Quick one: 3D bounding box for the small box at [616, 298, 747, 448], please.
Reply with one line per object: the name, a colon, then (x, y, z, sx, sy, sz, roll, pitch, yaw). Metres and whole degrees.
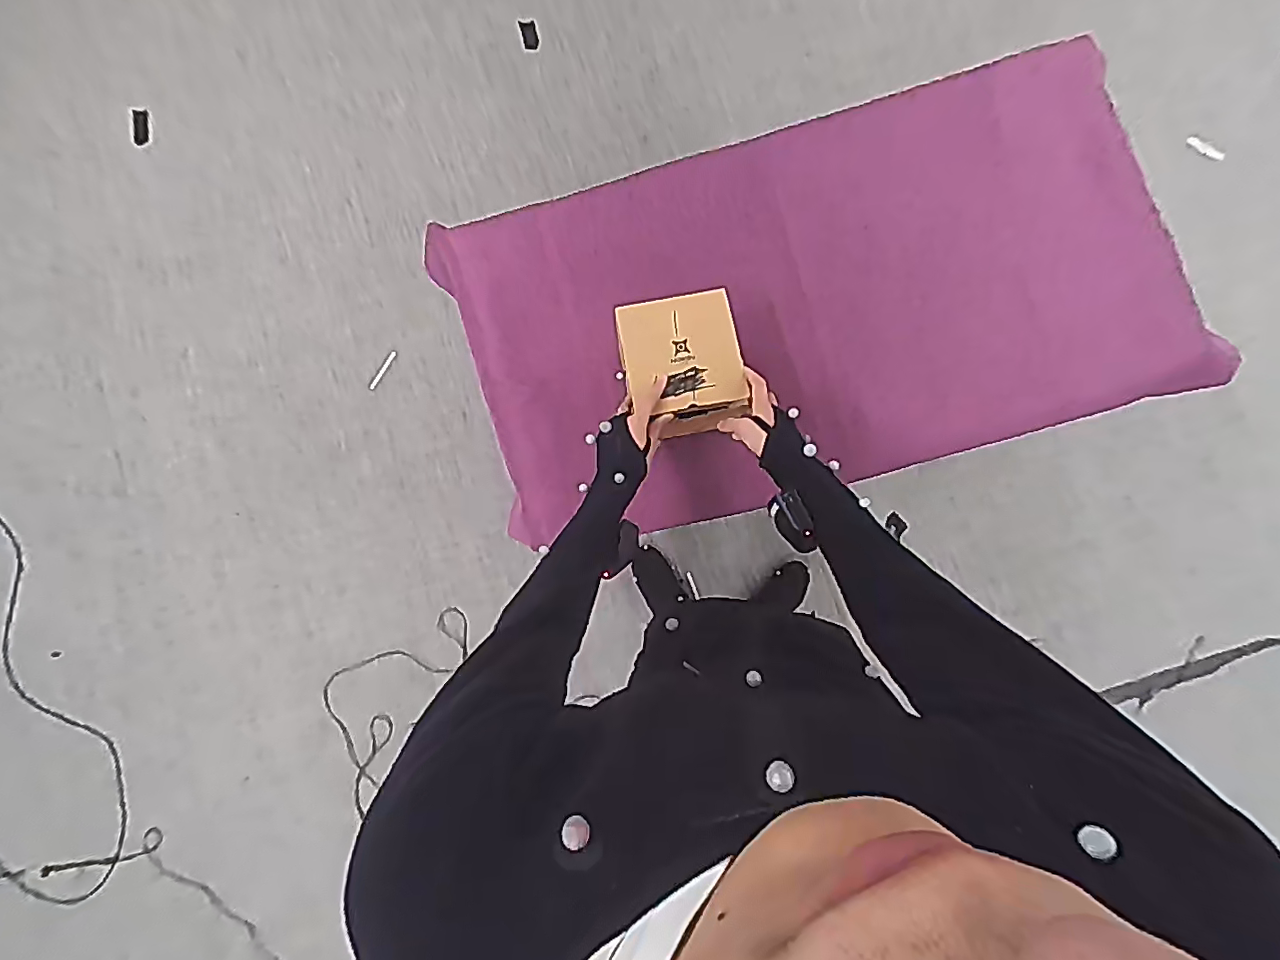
small box: (0.060, -0.156, 0.850, 0.168, 0.176, 0.179, -10, 80, -1)
